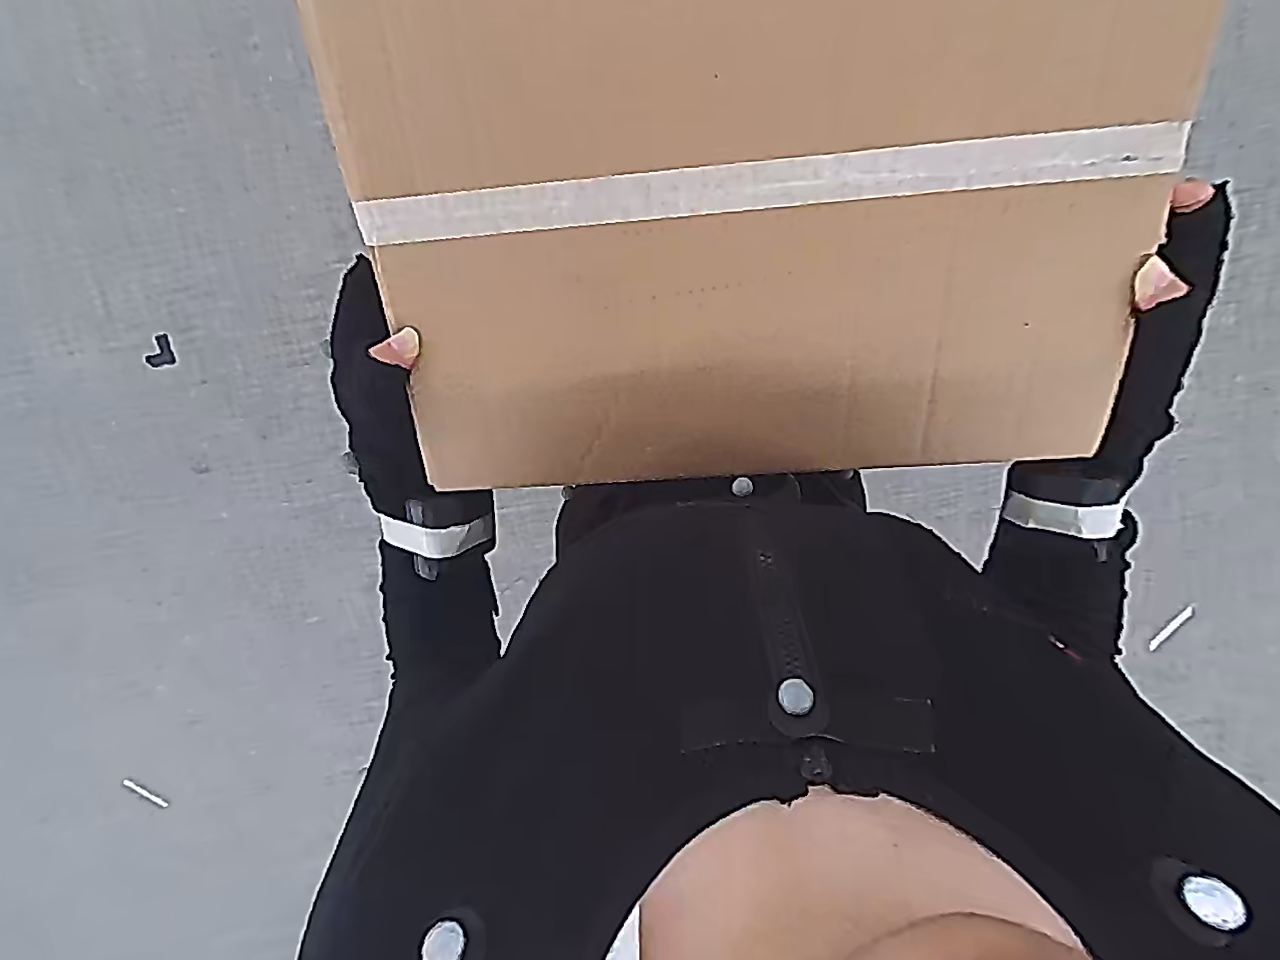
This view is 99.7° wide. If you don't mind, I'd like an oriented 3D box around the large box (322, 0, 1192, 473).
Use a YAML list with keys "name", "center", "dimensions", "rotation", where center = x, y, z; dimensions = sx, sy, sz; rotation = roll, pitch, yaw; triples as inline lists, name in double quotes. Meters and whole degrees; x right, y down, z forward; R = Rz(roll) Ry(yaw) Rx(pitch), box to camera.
- name: "large box"
  center: [0.058, -0.217, 0.415]
  dimensions: [0.408, 0.320, 0.320]
  rotation: [-3, 115, 4]
